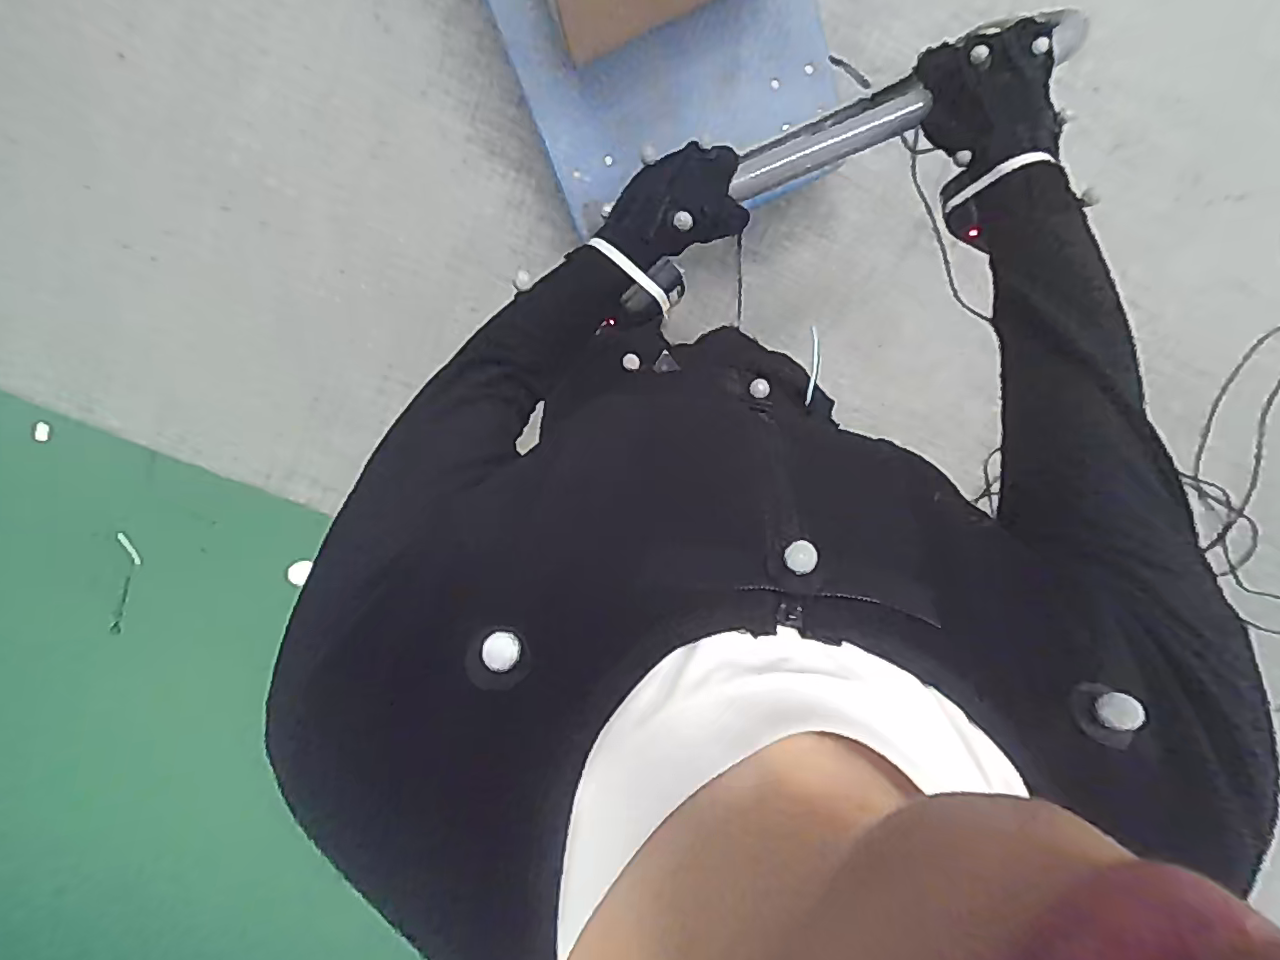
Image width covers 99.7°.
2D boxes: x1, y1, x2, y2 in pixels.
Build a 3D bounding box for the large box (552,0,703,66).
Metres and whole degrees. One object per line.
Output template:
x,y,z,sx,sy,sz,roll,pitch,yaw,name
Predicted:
0.005,-0.952,0.835,0.408,0.320,0.320,-23,108,8,large box
